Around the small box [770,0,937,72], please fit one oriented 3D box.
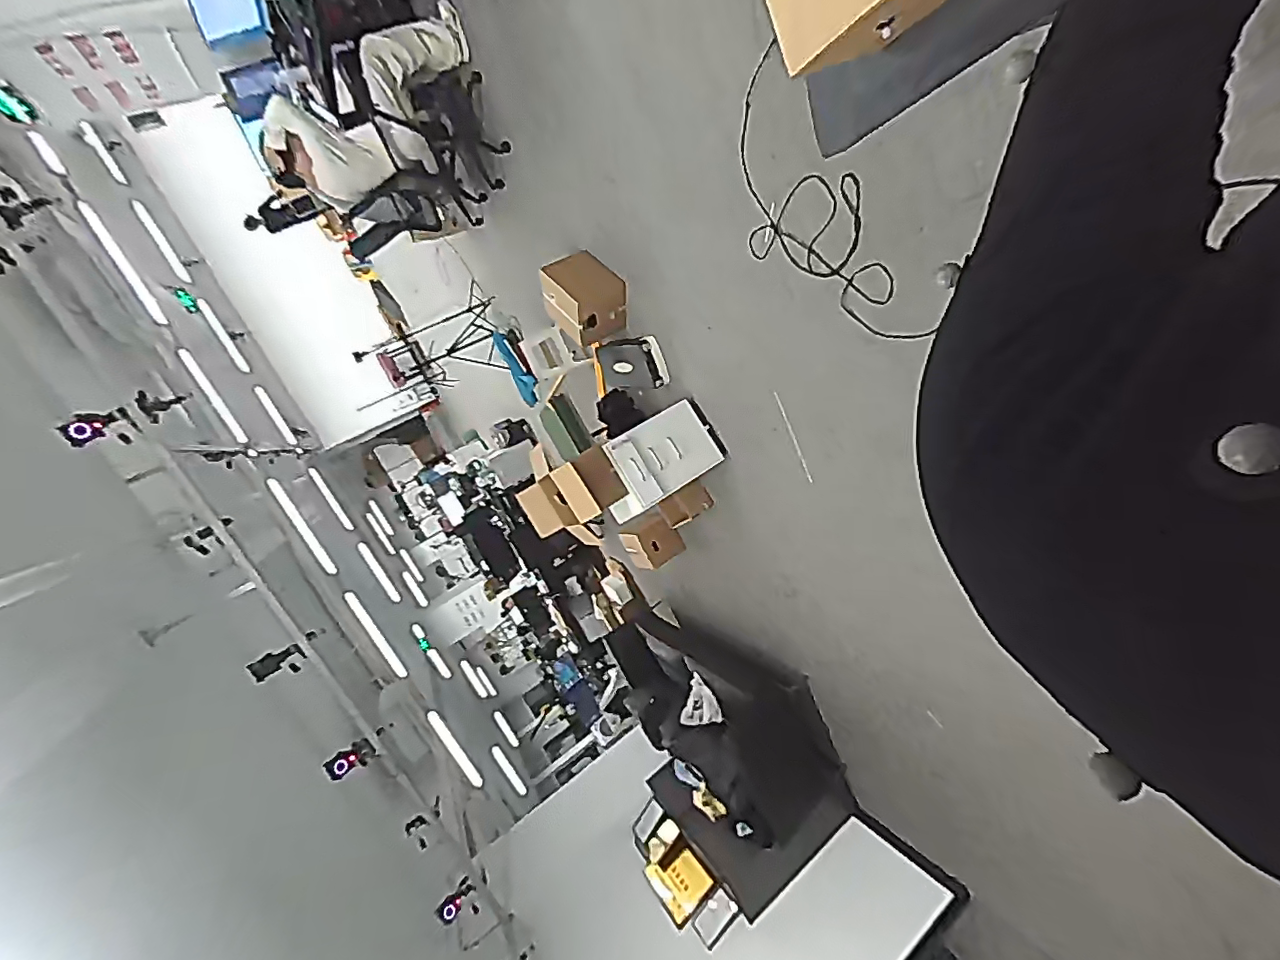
[{"bbox_3d":[0.249,-0.584,0.567,0.179,0.176,0.168,12,131,64],"label":"small box"}]
